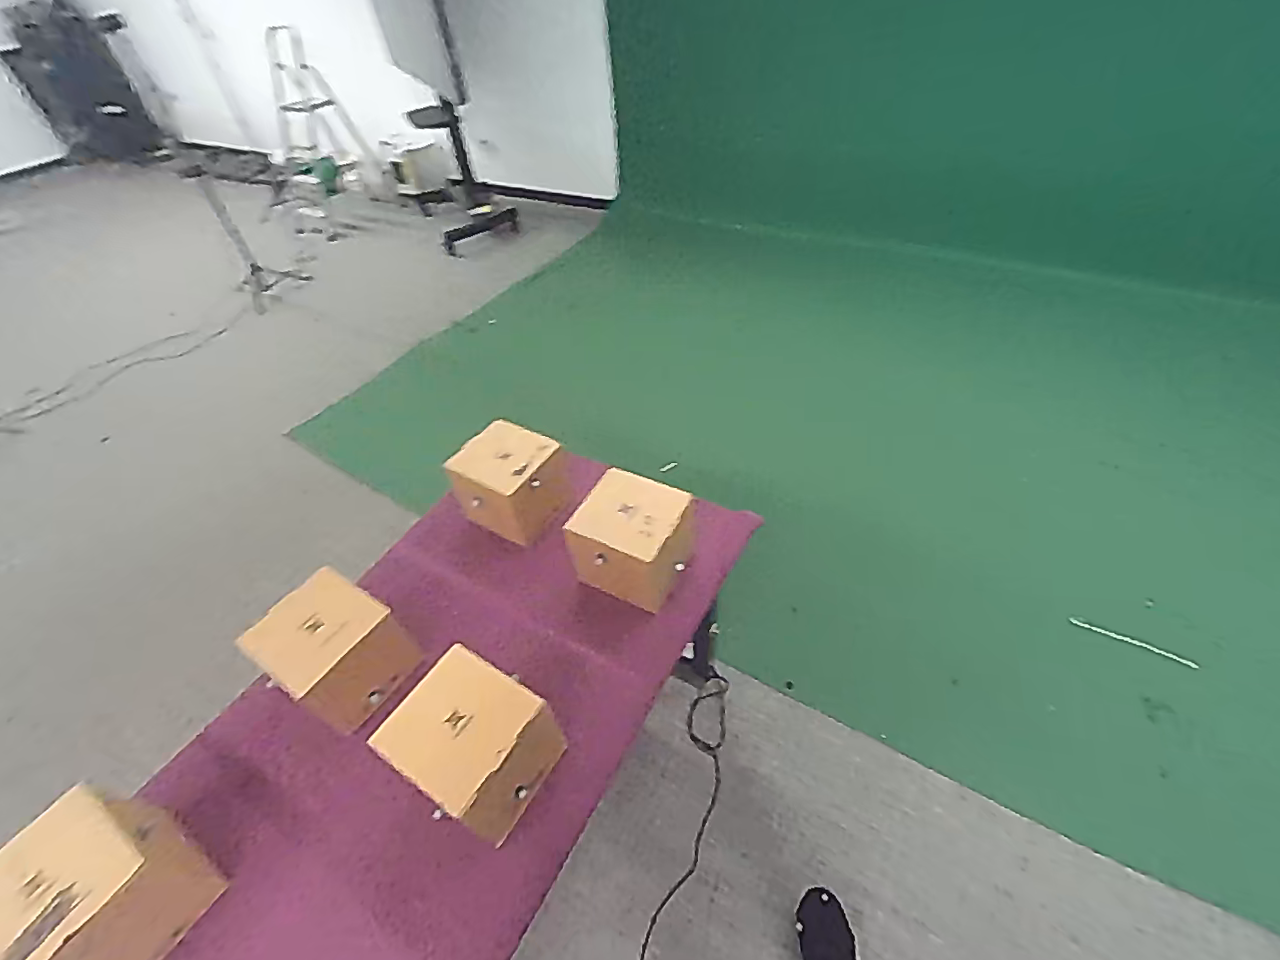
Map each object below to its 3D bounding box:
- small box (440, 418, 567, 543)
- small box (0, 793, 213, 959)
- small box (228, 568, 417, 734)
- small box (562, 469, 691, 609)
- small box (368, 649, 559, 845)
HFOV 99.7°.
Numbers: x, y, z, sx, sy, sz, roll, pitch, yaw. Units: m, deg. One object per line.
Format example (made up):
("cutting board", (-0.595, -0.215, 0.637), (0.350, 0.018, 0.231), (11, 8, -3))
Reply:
("small box", (-0.276, 0.004, 1.129), (0.179, 0.176, 0.168), (22, 53, 23))
("small box", (-0.688, 0.529, 0.665), (0.179, 0.176, 0.168), (23, 52, 22))
("small box", (-0.508, 0.284, 0.887), (0.179, 0.176, 0.168), (24, 54, 23))
("small box", (-0.019, 0.112, 1.006), (0.179, 0.176, 0.168), (21, 53, 21))
("small box", (-0.240, 0.383, 0.774), (0.179, 0.176, 0.168), (22, 52, 23))
